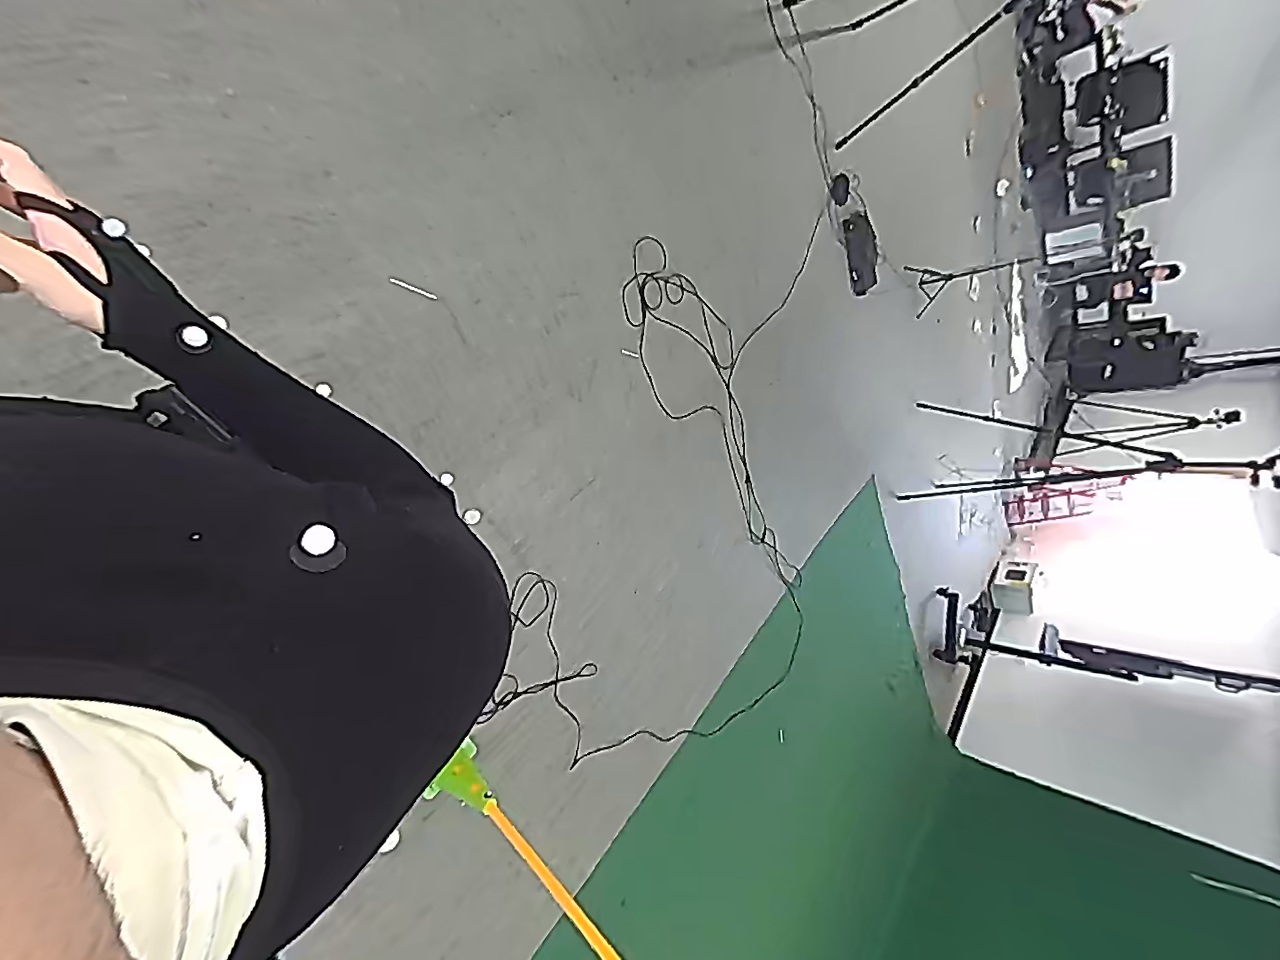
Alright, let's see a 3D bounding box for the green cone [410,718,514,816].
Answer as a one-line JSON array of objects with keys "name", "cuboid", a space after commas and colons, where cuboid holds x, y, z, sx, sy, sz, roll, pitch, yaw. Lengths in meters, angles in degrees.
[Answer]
[{"name": "green cone", "cuboid": [-0.484, 0.894, 1.591, 0.202, 0.368, 0.200, -42, 119, -35]}]
